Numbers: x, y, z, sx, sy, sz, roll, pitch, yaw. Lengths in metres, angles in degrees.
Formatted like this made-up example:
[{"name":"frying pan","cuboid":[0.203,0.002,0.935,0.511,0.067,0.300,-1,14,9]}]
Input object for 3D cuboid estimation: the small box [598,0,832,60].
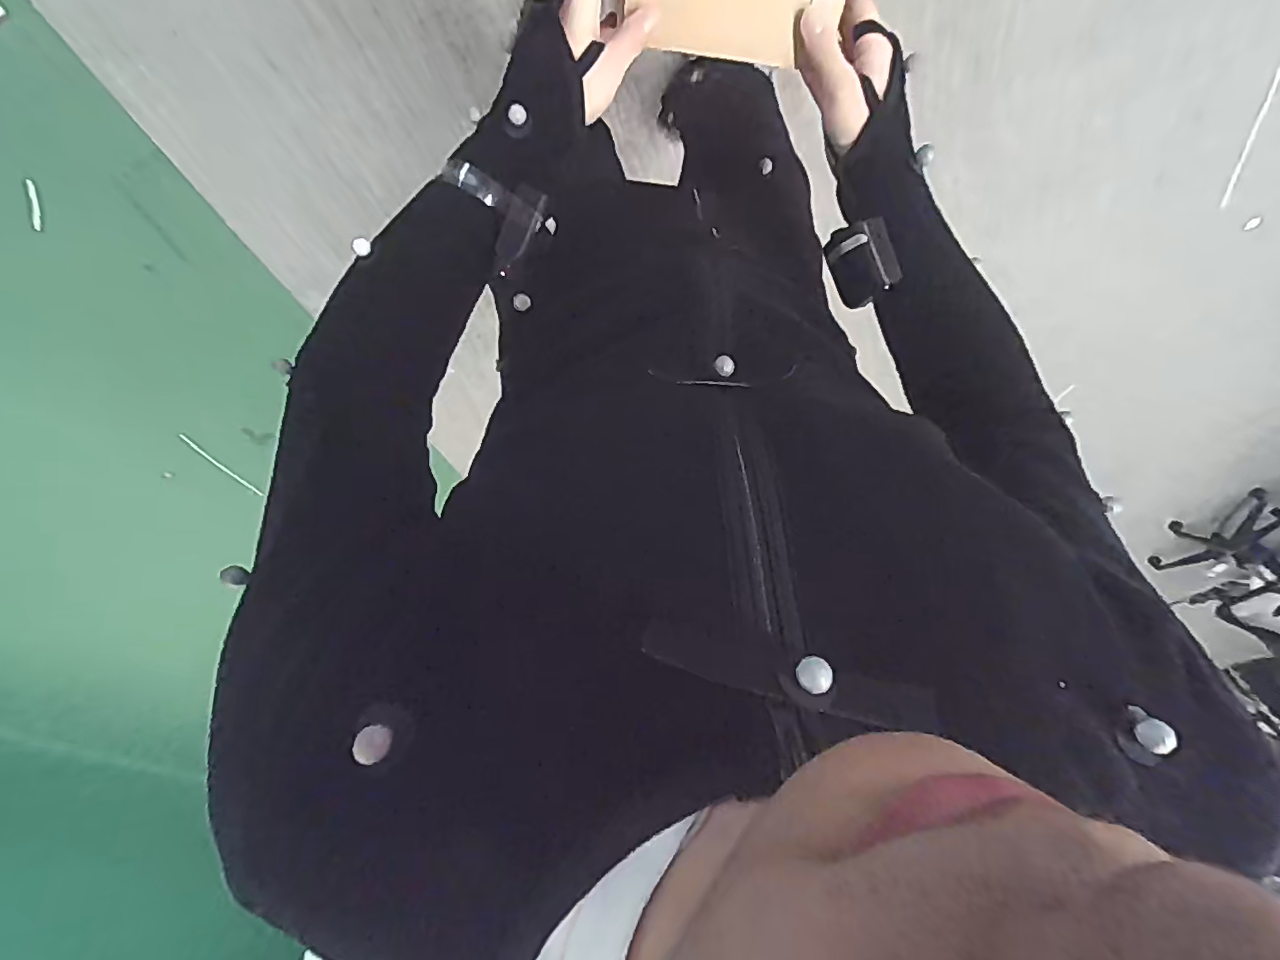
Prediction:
[{"name":"small box","cuboid":[0.063,-0.457,0.417,0.179,0.176,0.168,4,137,-10]}]
